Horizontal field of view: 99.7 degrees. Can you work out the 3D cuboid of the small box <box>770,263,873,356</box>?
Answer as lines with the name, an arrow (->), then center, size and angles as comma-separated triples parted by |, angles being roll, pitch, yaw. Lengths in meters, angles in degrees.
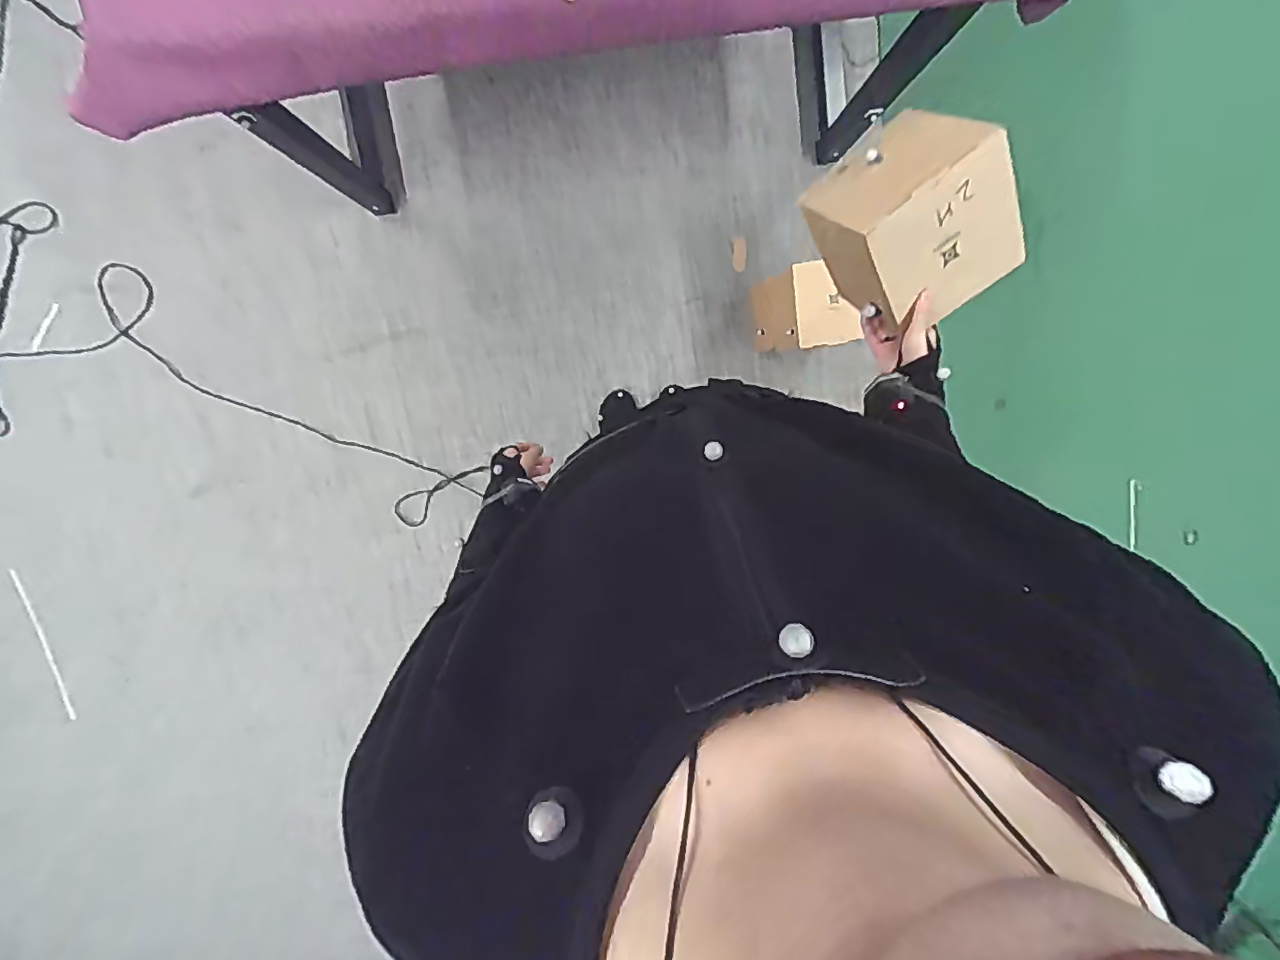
small box -> 0.398, -0.380, 1.208 | 0.168, 0.176, 0.179 | -9, 101, 0

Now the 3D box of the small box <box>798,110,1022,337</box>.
small box -> 0.330, -0.322, 0.675 | 0.168, 0.176, 0.179 | -37, 130, 13

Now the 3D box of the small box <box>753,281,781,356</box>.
small box -> 0.388, -0.410, 1.367 | 0.179, 0.176, 0.168 | -7, 100, -1
